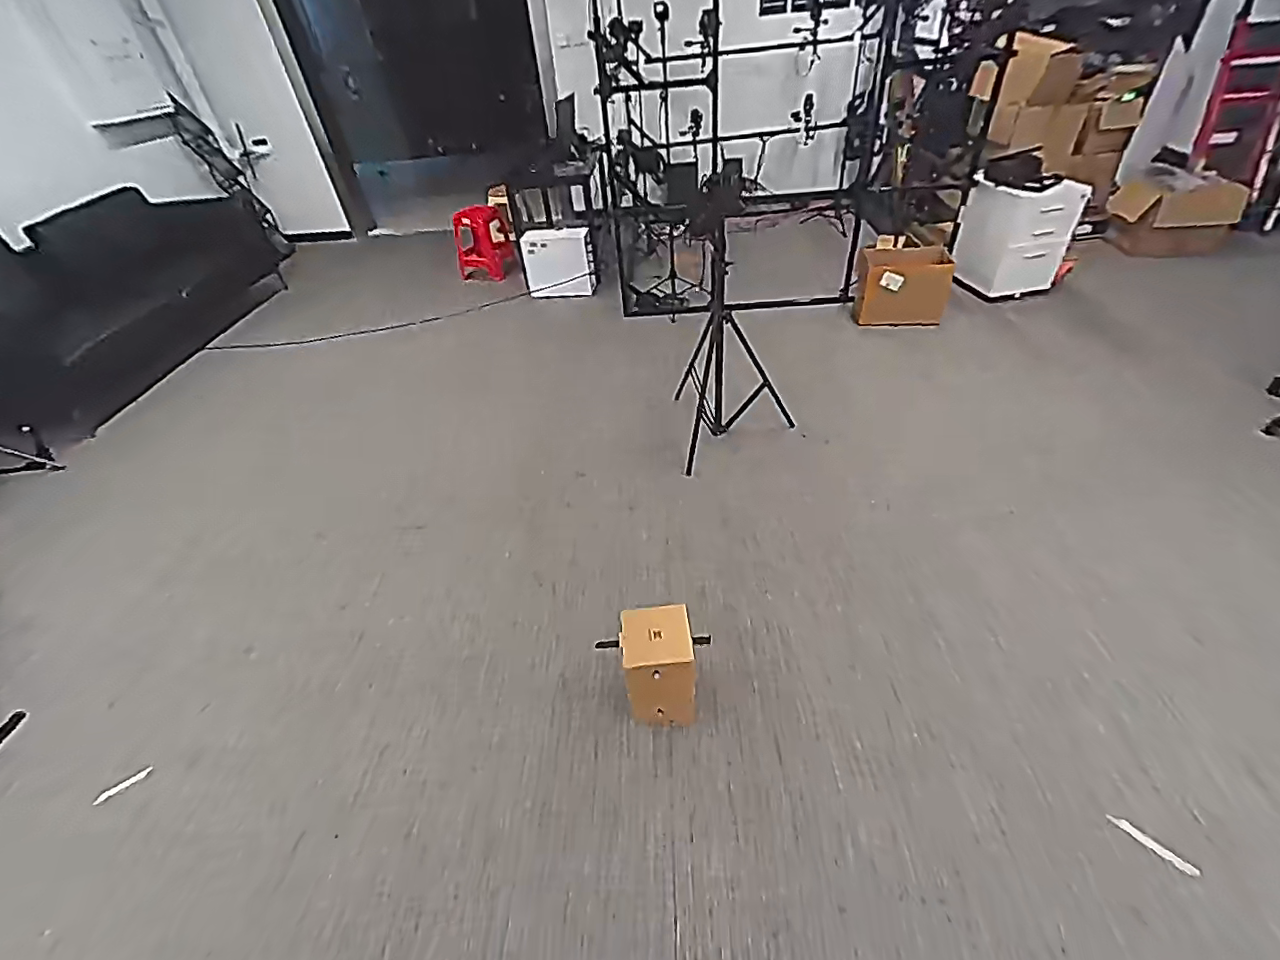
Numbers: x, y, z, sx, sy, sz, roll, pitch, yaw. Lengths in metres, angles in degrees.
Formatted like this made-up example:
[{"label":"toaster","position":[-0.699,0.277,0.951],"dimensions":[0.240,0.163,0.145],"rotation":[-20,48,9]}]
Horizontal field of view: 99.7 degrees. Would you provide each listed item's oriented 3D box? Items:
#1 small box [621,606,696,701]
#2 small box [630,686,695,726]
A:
[{"label":"small box","position":[0.048,0.453,1.404],"dimensions":[0.179,0.176,0.168],"rotation":[-7,41,1]},{"label":"small box","position":[0.068,0.569,1.516],"dimensions":[0.168,0.176,0.179],"rotation":[-1,40,6]}]
